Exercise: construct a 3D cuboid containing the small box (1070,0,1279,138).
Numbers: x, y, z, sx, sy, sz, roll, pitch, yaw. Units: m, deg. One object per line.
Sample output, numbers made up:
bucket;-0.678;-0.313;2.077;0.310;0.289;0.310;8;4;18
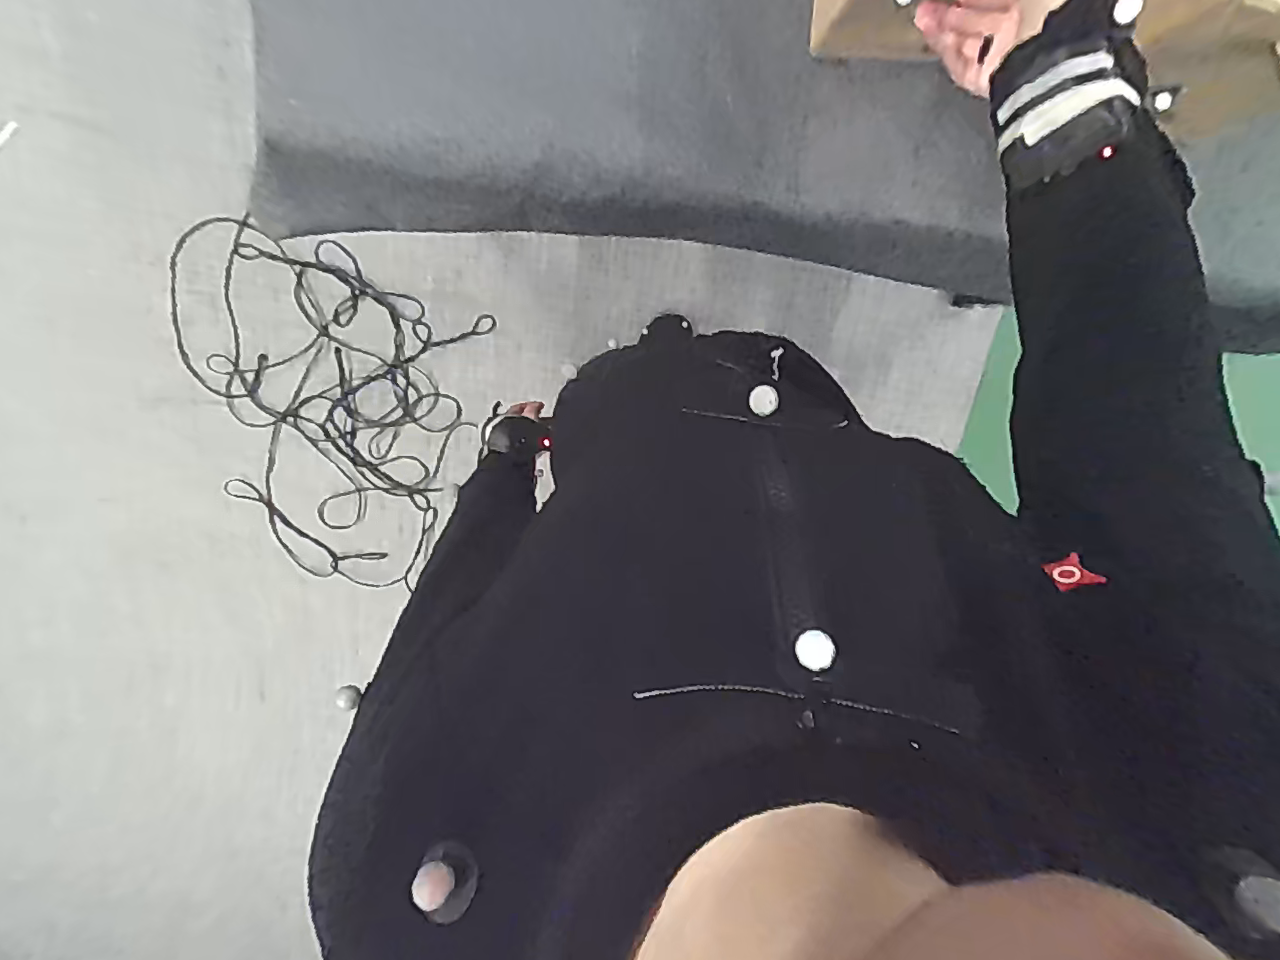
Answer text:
small box;0.508;-0.416;0.435;0.168;0.176;0.179;12;105;-7
